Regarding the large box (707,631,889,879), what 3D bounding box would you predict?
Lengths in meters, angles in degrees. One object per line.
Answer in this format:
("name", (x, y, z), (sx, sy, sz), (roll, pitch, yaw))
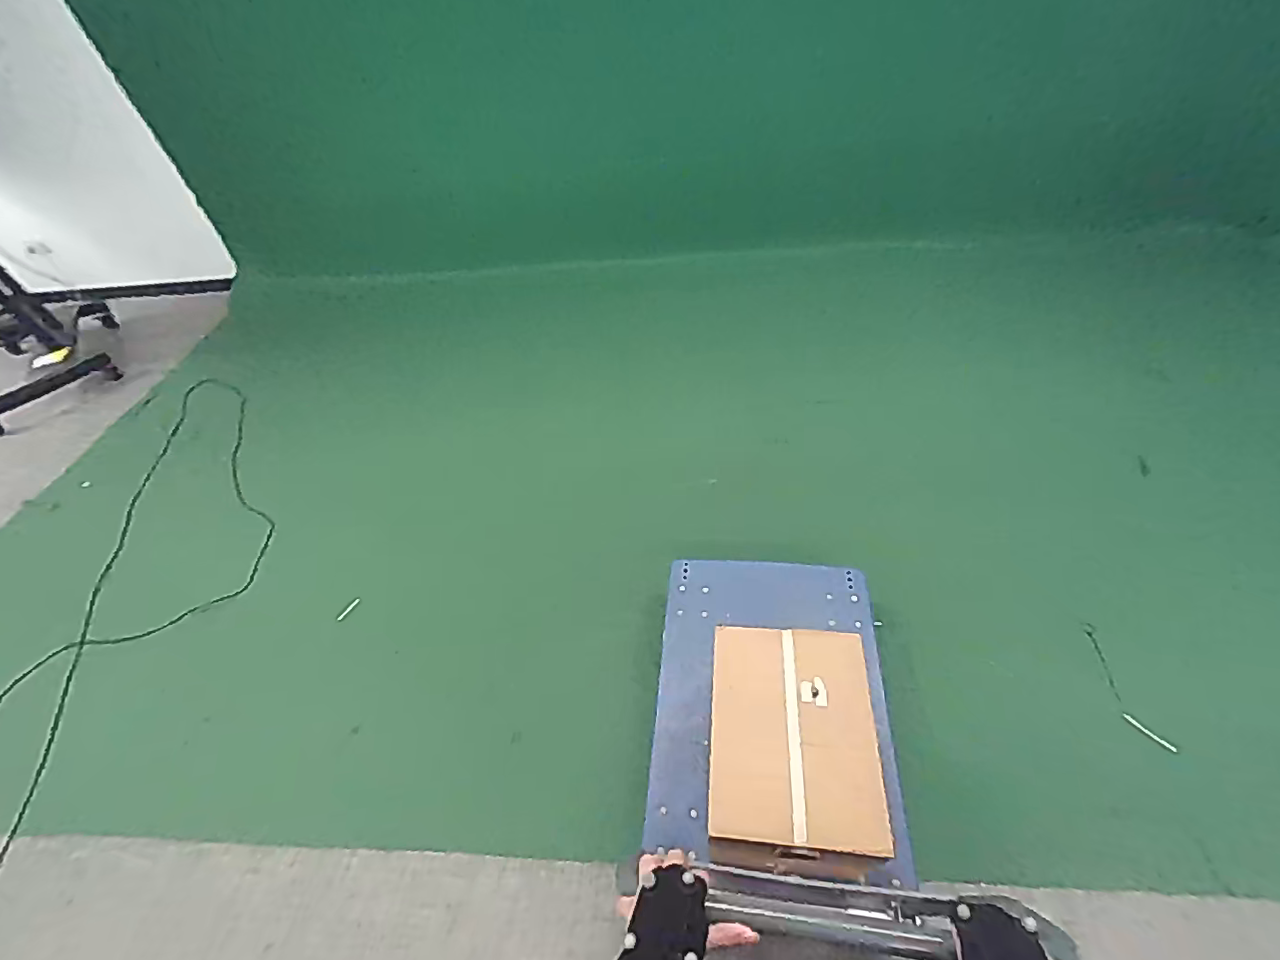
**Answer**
("large box", (0.310, 0.590, 1.175), (0.320, 0.320, 0.408), (2, 48, 9))
